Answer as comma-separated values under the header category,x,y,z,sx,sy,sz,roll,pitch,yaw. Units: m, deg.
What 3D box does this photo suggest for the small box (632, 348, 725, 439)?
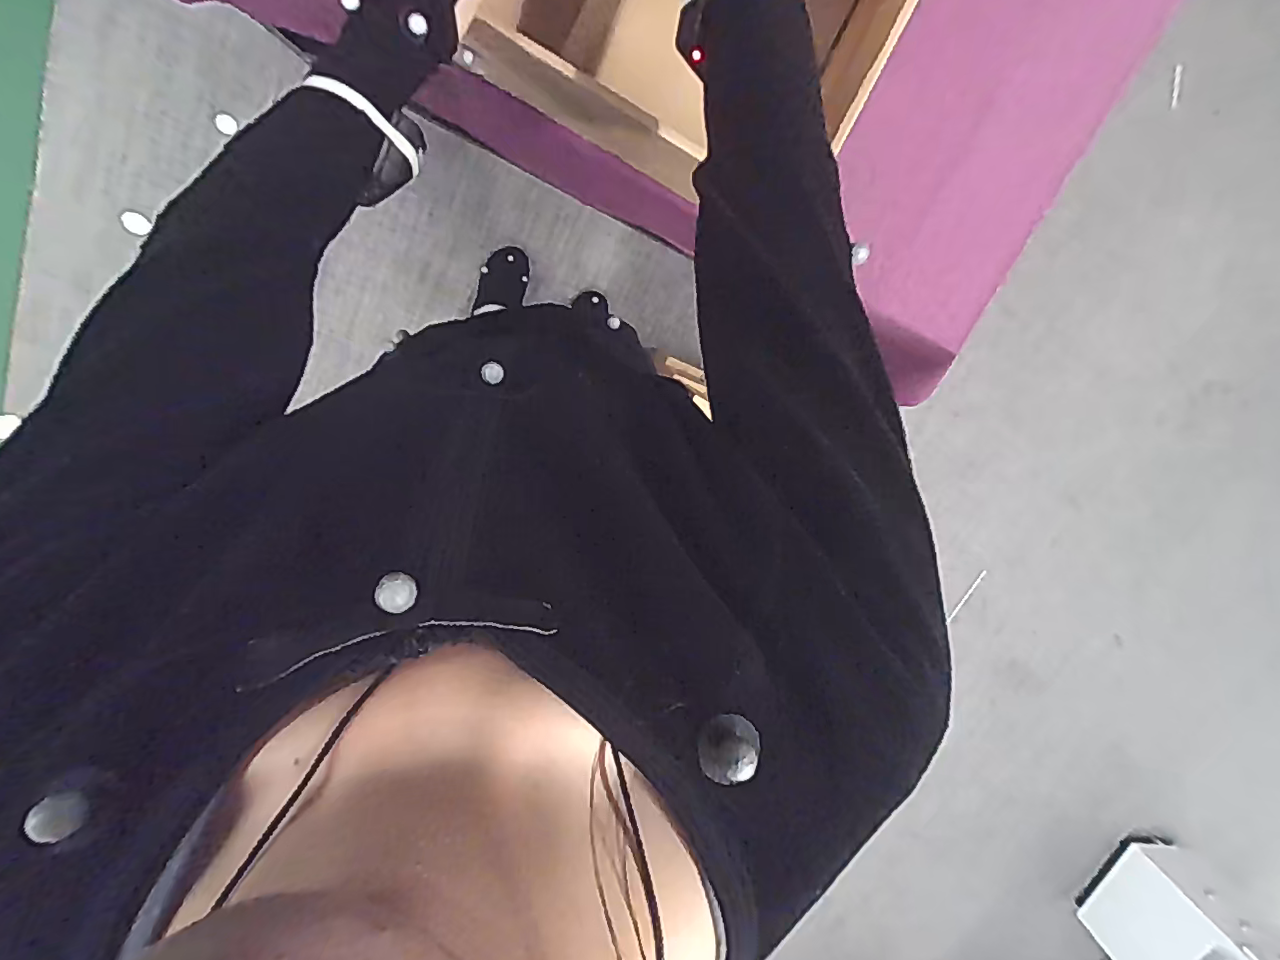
category,x,y,z,sx,sy,sz,roll,pitch,yaw
small box,0.093,-0.232,1.416,0.179,0.176,0.168,21,107,-15
